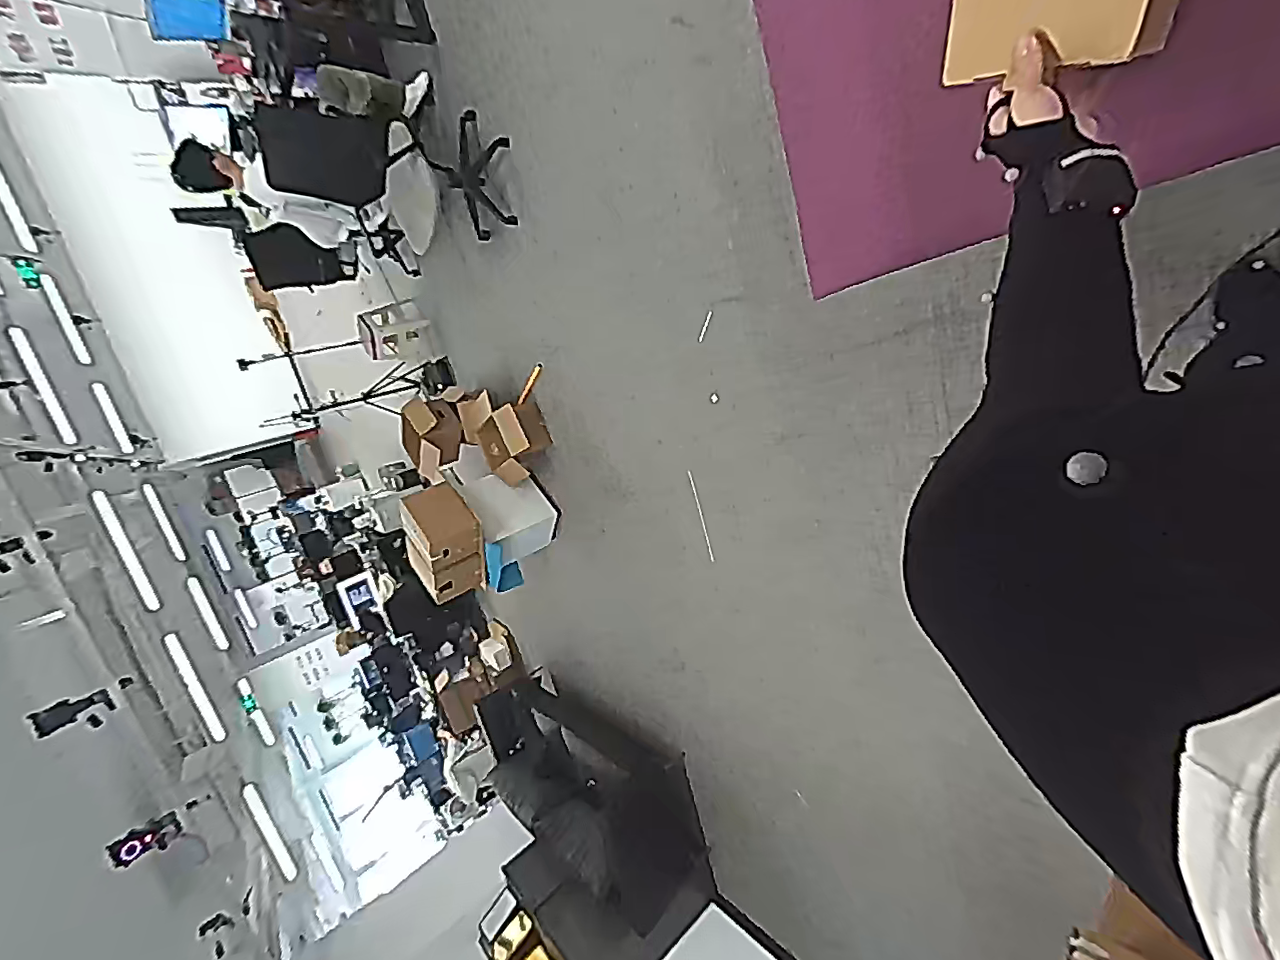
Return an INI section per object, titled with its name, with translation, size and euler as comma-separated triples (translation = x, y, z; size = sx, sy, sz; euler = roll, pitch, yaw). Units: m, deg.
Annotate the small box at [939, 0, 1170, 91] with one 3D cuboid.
[small box]
translation = 0.436, -0.521, 0.550
size = 0.168, 0.176, 0.179
euler = 24, 136, 39
